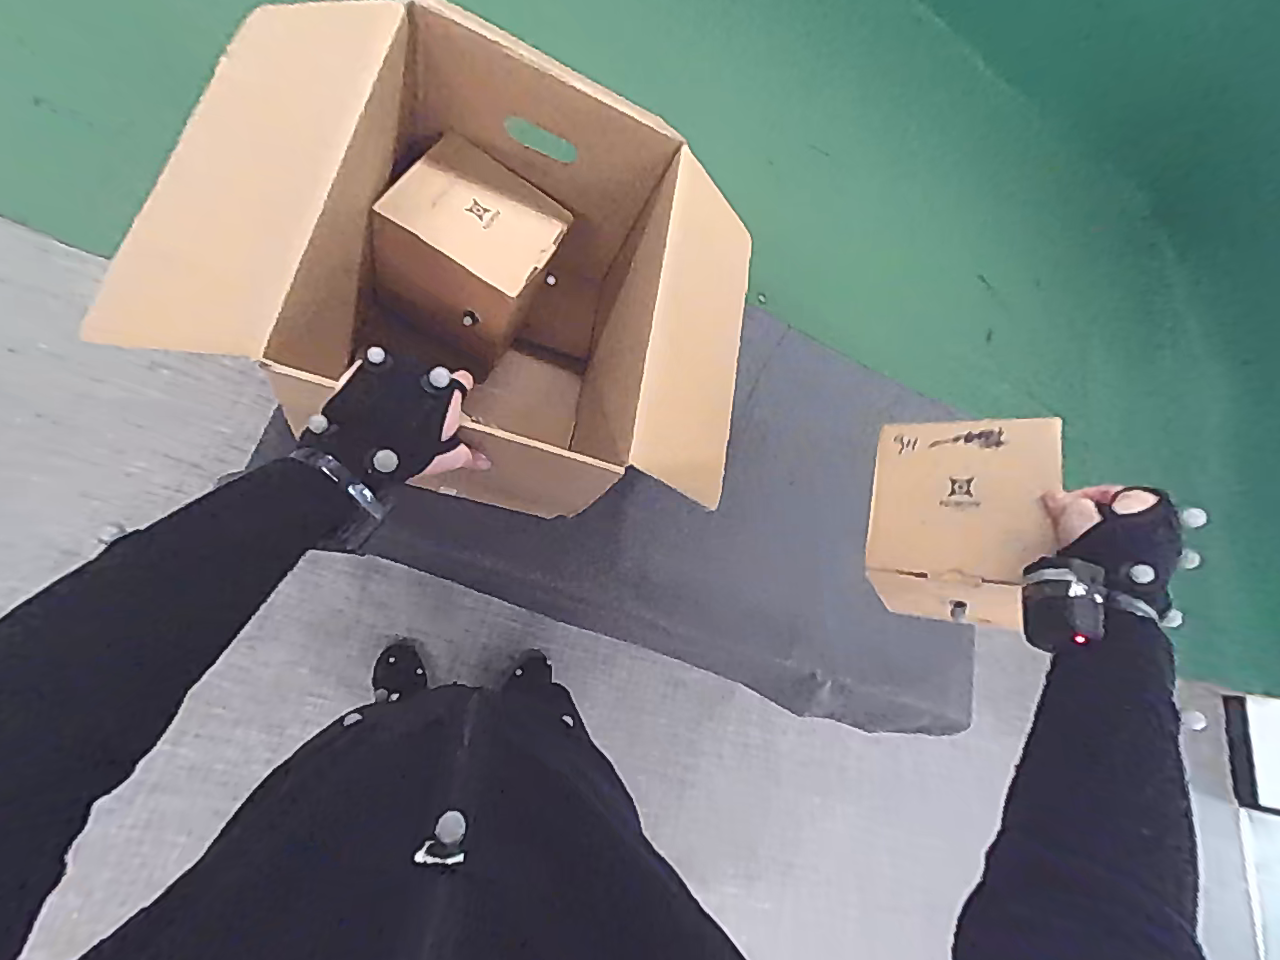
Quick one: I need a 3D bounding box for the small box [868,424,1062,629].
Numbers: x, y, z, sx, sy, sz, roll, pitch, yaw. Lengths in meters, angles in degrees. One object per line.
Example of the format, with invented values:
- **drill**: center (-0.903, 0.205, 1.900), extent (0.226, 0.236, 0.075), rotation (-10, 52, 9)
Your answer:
- **small box**: center (0.373, 0.057, 0.613), extent (0.176, 0.168, 0.179), rotation (41, 58, -46)
